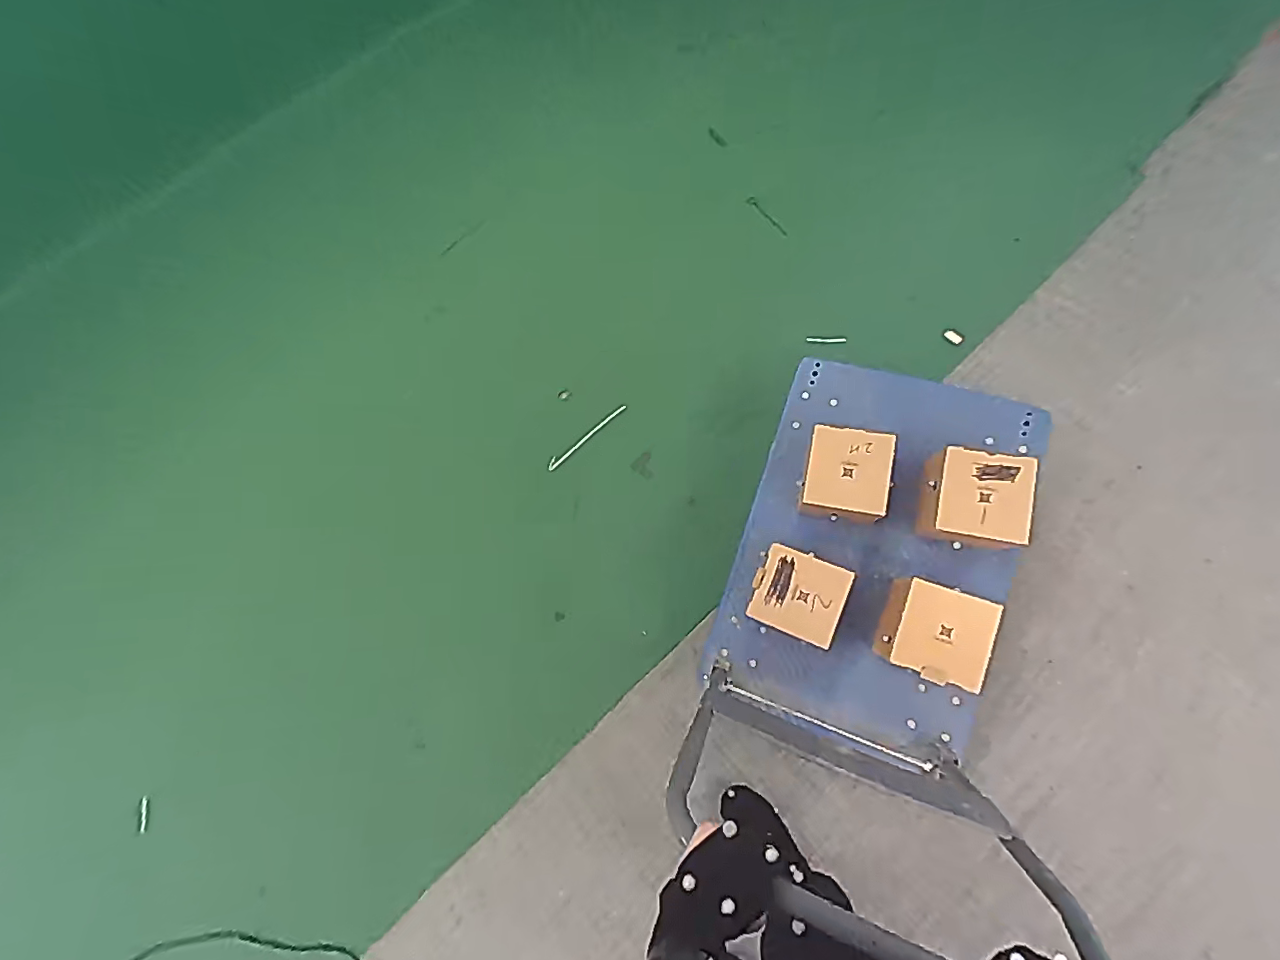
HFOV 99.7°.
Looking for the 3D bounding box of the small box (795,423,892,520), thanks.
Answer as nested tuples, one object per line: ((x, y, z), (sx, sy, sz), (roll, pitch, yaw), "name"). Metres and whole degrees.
((0.448, -0.012, 1.214), (0.168, 0.176, 0.179), (10, 82, 13), "small box")

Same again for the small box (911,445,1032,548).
((0.695, 0.041, 1.152), (0.168, 0.176, 0.179), (11, 83, 14), "small box")

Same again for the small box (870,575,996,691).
((0.597, 0.308, 1.123), (0.168, 0.176, 0.179), (18, 84, 15), "small box")
